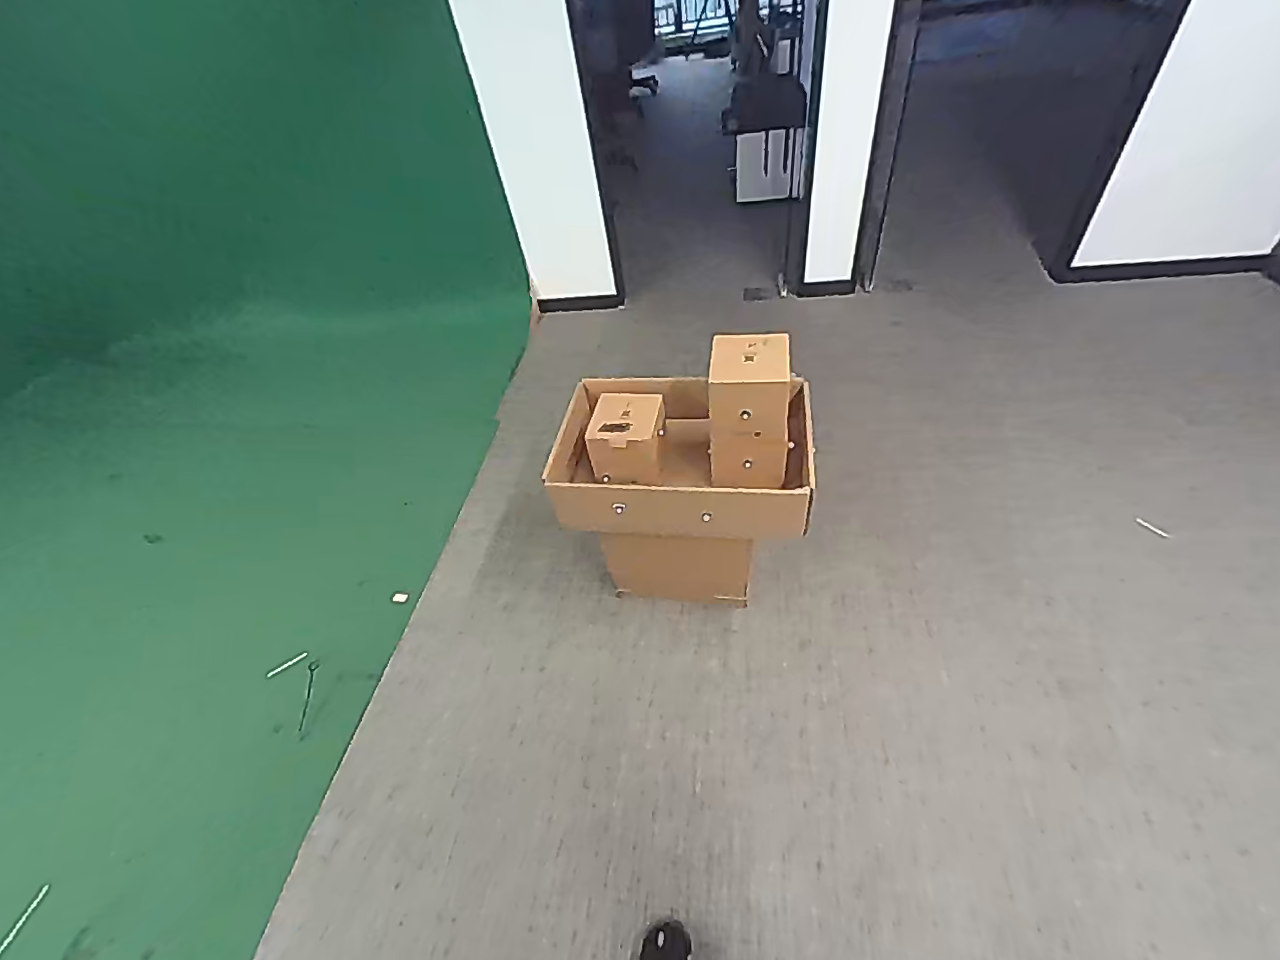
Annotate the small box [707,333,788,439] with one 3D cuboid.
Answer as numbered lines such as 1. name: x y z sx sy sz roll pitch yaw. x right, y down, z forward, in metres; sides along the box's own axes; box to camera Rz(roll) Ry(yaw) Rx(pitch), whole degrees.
1. small box: 0.244 -0.207 1.209 0.168 0.176 0.179 2 48 12
